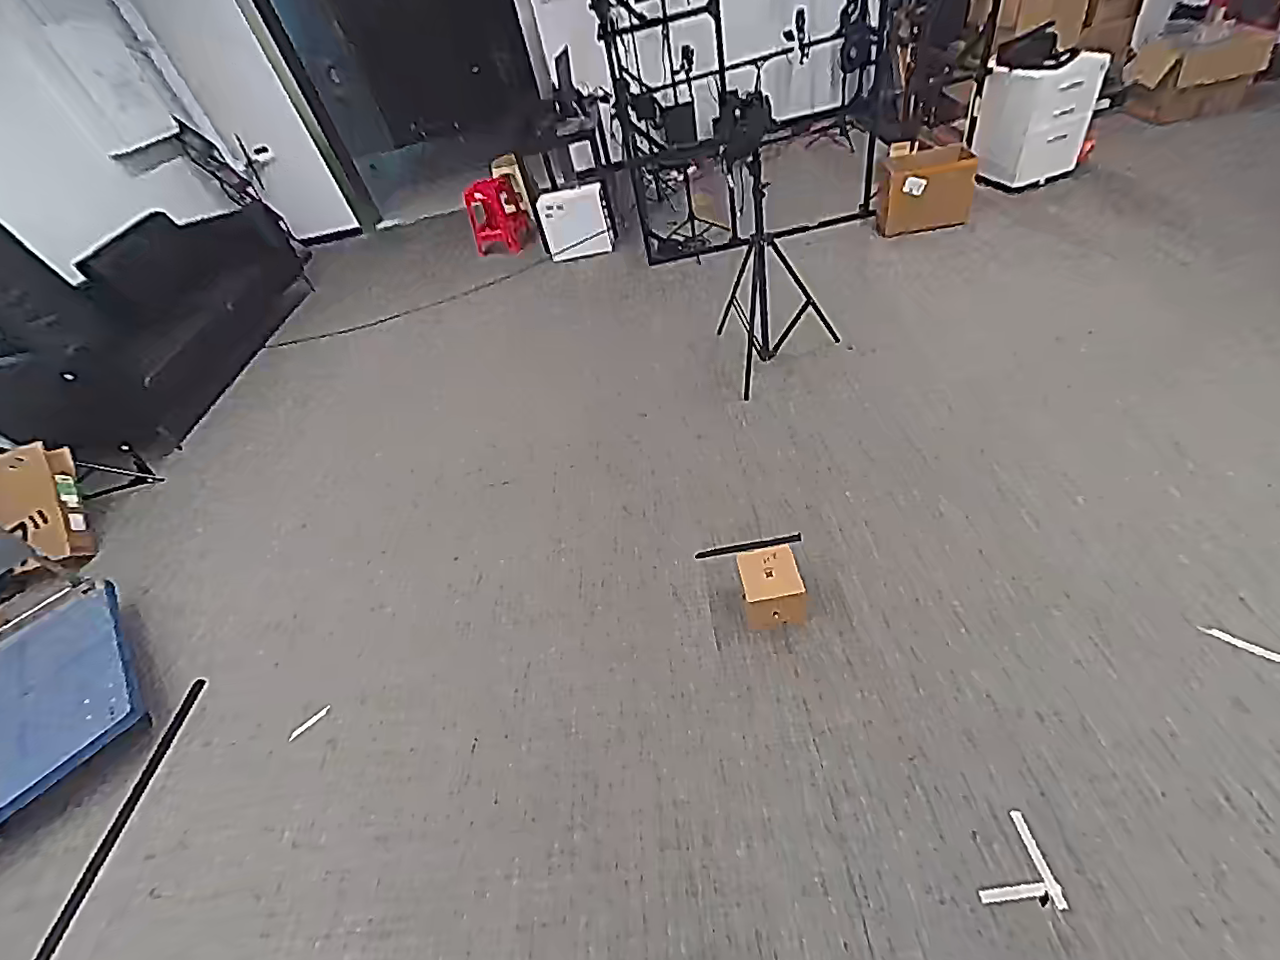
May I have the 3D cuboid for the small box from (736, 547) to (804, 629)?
[{"bbox_3d":[0.391,0.332,1.626,0.168,0.176,0.179,-11,43,5],"label":"small box"}]
